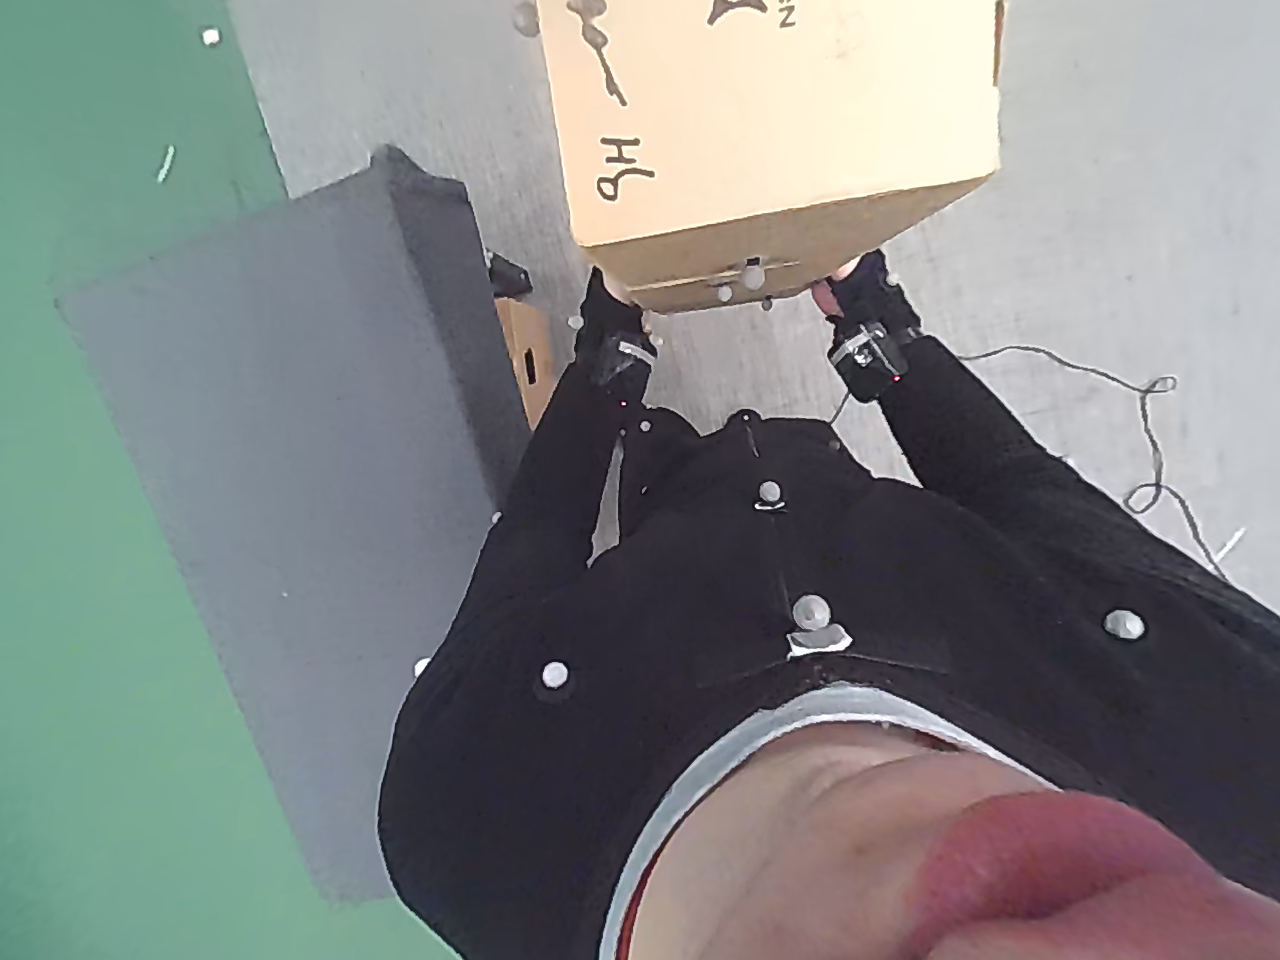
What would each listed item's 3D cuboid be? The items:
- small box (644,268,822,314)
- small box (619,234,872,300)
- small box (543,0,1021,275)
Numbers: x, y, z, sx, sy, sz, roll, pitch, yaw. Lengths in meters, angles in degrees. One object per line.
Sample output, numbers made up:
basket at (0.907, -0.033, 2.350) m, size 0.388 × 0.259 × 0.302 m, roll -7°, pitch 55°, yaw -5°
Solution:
small box at (0.091, -0.282, 0.593) m, size 0.179 × 0.176 × 0.168 m, roll -6°, pitch 102°, yaw 9°
small box at (0.070, -0.246, 0.434) m, size 0.179 × 0.176 × 0.168 m, roll -6°, pitch 103°, yaw 7°
small box at (0.055, -0.210, 0.276) m, size 0.179 × 0.176 × 0.168 m, roll -6°, pitch 102°, yaw 7°
